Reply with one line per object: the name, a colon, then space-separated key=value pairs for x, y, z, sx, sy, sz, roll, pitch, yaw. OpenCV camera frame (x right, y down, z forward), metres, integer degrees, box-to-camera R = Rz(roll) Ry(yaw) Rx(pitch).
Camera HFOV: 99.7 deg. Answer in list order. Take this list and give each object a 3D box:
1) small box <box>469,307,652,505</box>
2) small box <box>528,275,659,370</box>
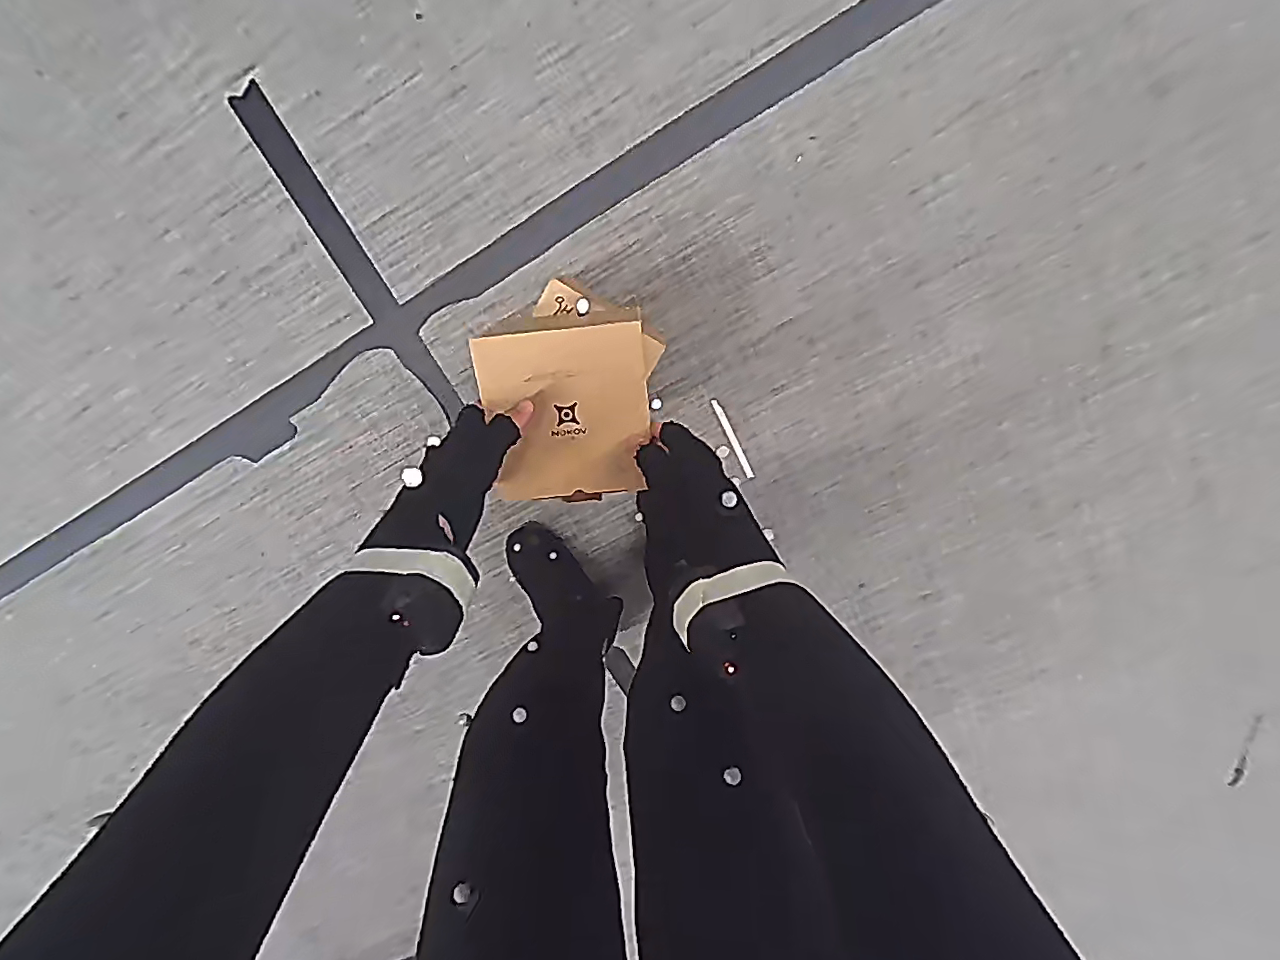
small box: x=-0.073 y=-0.090 z=0.612 sx=0.168 sy=0.176 sz=0.179 roll=-6 pitch=113 yaw=2
small box: x=-0.082 y=-0.170 z=0.768 sx=0.168 sy=0.176 sz=0.179 roll=27 pitch=108 yaw=-9
